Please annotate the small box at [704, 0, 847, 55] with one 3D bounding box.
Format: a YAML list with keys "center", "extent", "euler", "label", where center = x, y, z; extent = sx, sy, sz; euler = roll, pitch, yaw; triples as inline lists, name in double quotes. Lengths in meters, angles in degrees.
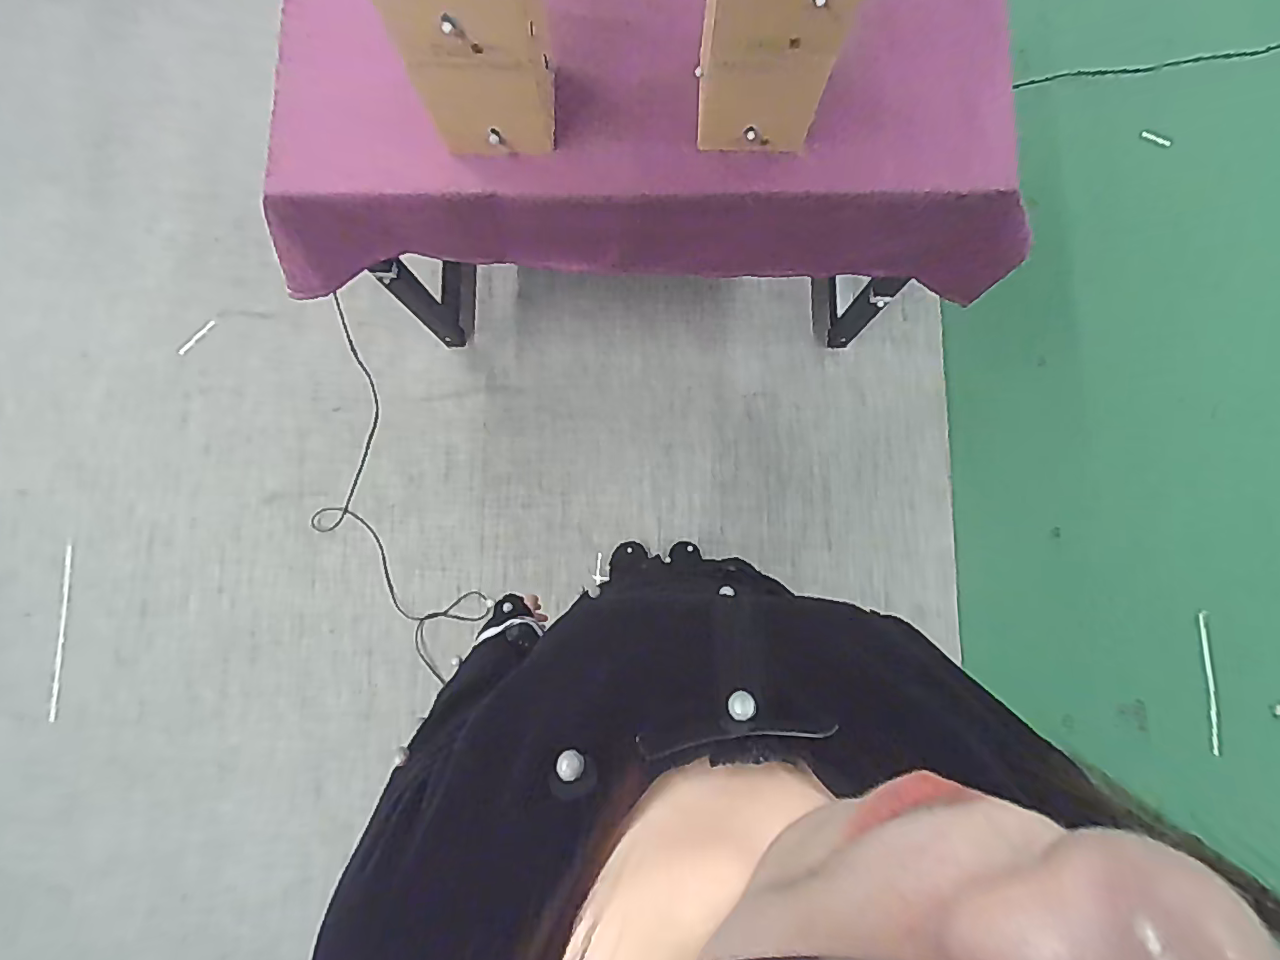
- center: [0.167, -0.644, 0.633]
  extent: [0.168, 0.176, 0.179]
  euler: [1, 83, 1]
  label: "small box"

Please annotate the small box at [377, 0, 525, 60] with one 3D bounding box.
- center: [-0.235, -0.648, 0.638]
  extent: [0.168, 0.176, 0.179]
  euler: [0, 84, 1]
  label: "small box"

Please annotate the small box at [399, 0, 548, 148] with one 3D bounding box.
- center: [-0.233, -0.624, 0.802]
  extent: [0.179, 0.176, 0.168]
  euler: [-1, 83, 0]
  label: "small box"
